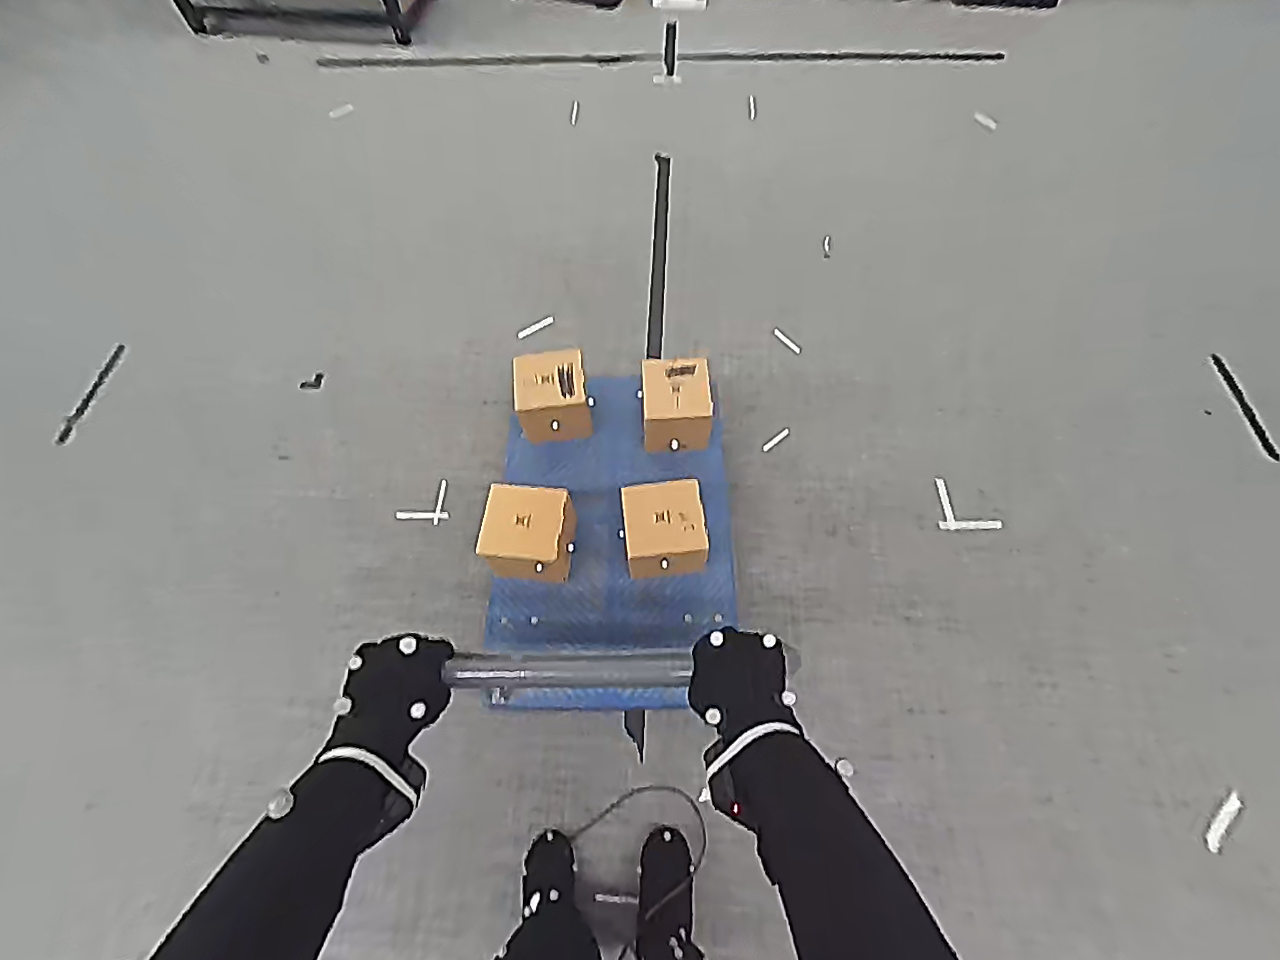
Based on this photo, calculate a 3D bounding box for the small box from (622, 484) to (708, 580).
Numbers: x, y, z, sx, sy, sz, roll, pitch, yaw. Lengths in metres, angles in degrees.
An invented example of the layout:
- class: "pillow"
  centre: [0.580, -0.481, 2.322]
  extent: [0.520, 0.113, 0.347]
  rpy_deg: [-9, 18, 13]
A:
- class: "small box"
  centre: [0.056, 0.125, 1.248]
  extent: [0.179, 0.176, 0.168]
  rpy_deg: [-6, 63, -1]

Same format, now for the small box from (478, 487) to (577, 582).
- class: "small box"
  centre: [-0.251, 0.131, 1.254]
  extent: [0.179, 0.176, 0.168]
  rpy_deg: [5, 63, 2]

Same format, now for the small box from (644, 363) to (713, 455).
- class: "small box"
  centre: [0.094, -0.182, 1.403]
  extent: [0.168, 0.176, 0.179]
  rpy_deg: [-2, 64, 1]
